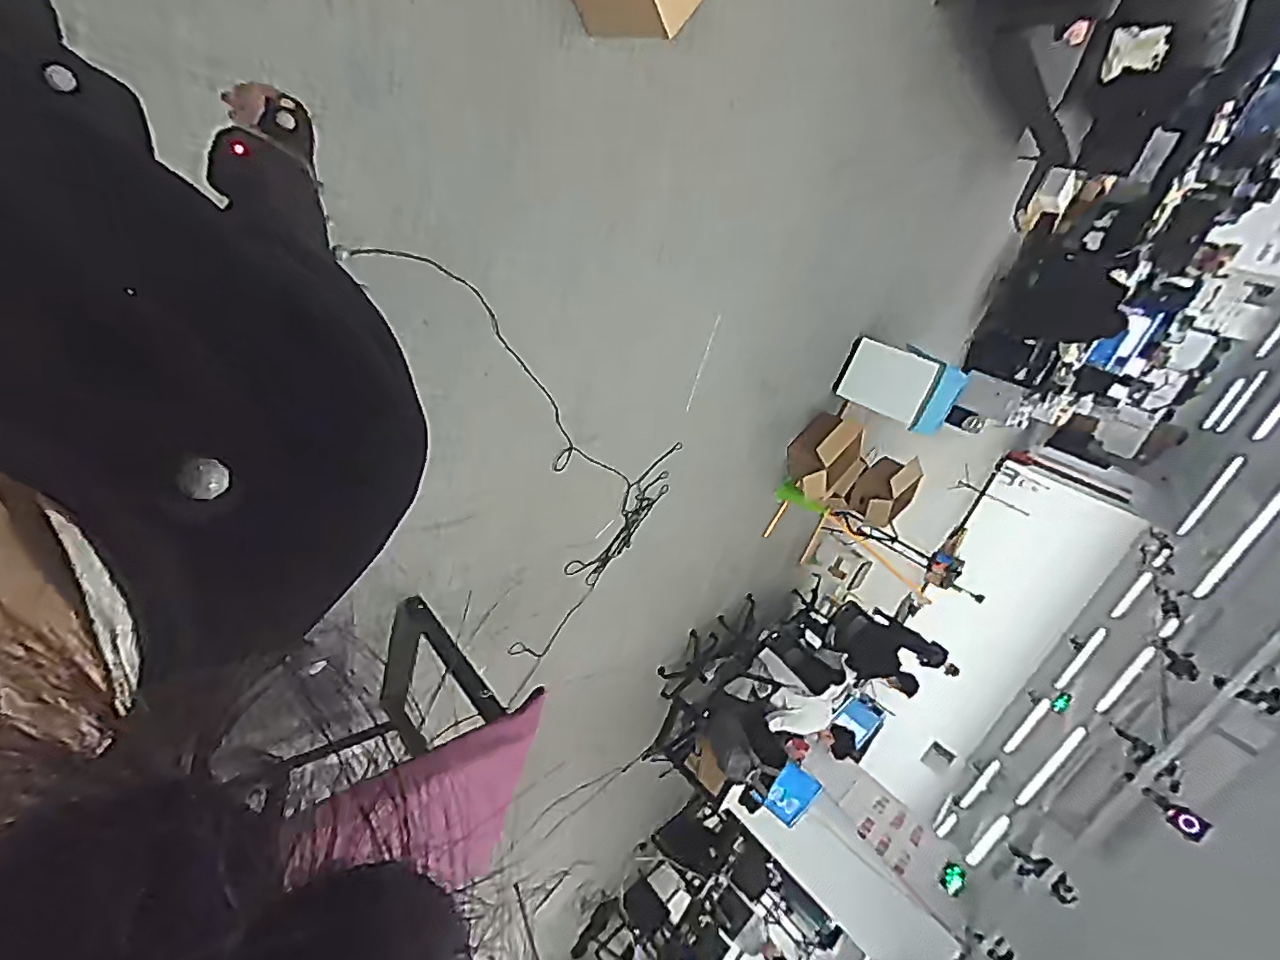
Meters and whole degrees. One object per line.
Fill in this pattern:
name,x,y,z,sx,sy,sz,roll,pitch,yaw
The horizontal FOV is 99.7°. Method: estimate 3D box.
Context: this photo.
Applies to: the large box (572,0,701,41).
large box,-0.030,-1.330,1.241,0.320,0.320,0.408,-53,147,-3
